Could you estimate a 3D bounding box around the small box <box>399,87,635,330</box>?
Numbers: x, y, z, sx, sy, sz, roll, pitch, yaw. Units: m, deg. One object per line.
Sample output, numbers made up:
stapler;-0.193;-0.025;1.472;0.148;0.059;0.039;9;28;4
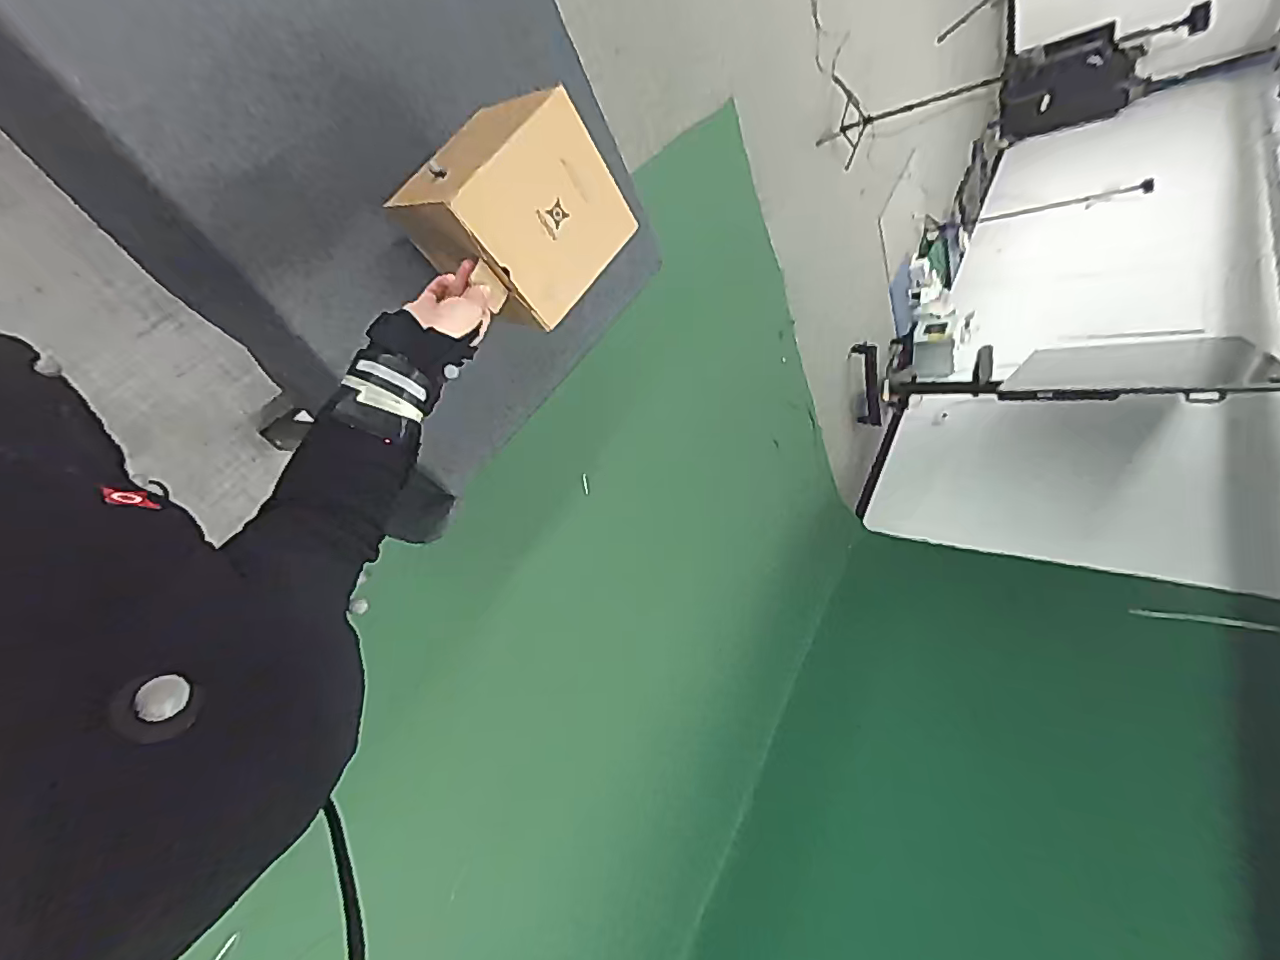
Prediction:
small box;-0.145;-0.301;0.620;0.179;0.176;0.168;-55;139;-13
